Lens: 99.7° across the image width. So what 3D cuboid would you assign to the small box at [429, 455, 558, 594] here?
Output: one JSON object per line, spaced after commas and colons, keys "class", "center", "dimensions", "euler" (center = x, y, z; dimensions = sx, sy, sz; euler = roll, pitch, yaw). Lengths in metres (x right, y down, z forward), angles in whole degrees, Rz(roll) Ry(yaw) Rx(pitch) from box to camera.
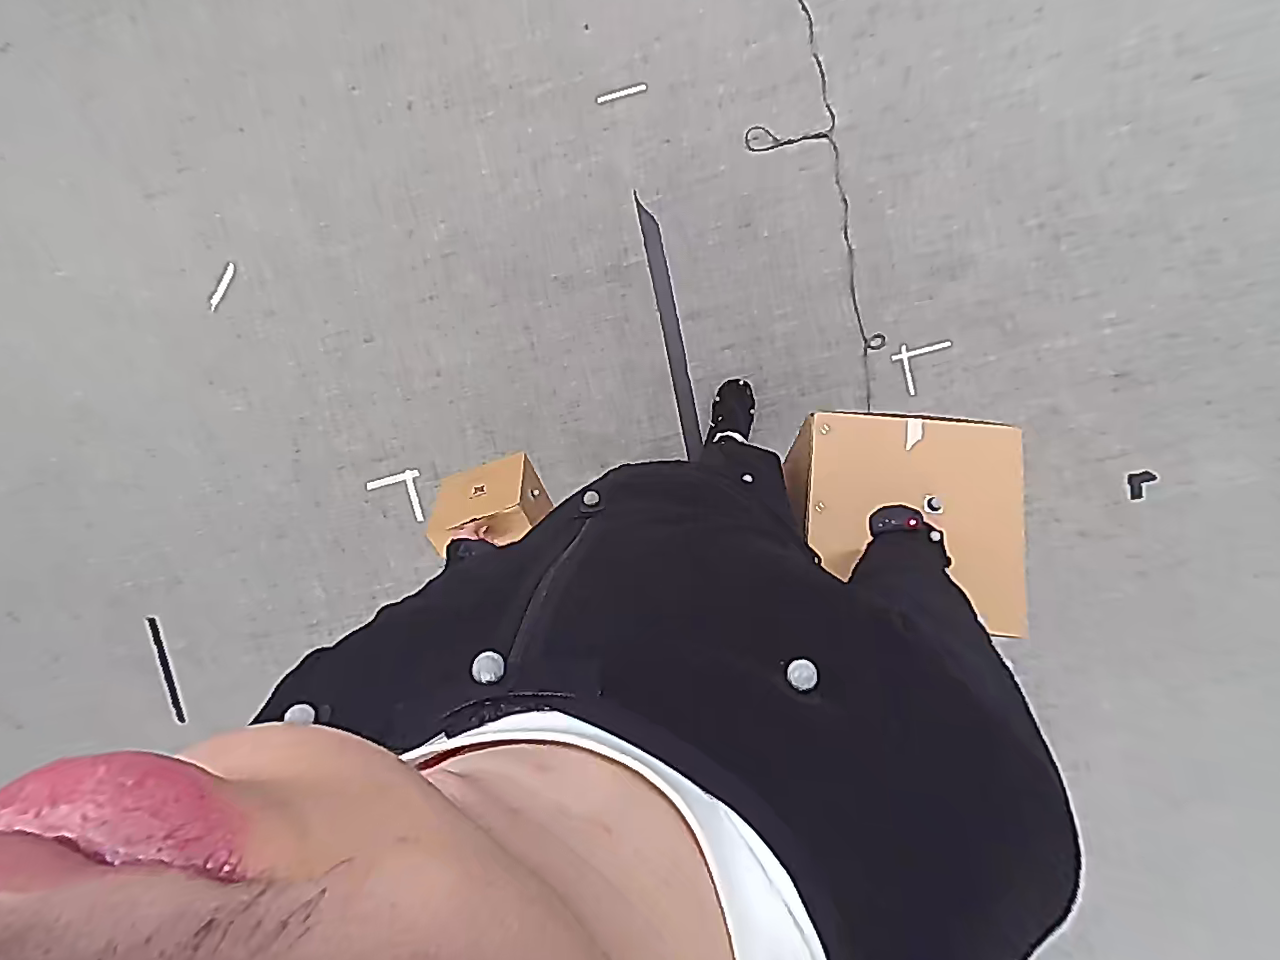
{"class": "small box", "center": [-0.257, 0.087, 0.994], "dimensions": [0.168, 0.179, 0.176], "euler": [-18, 123, 3]}
